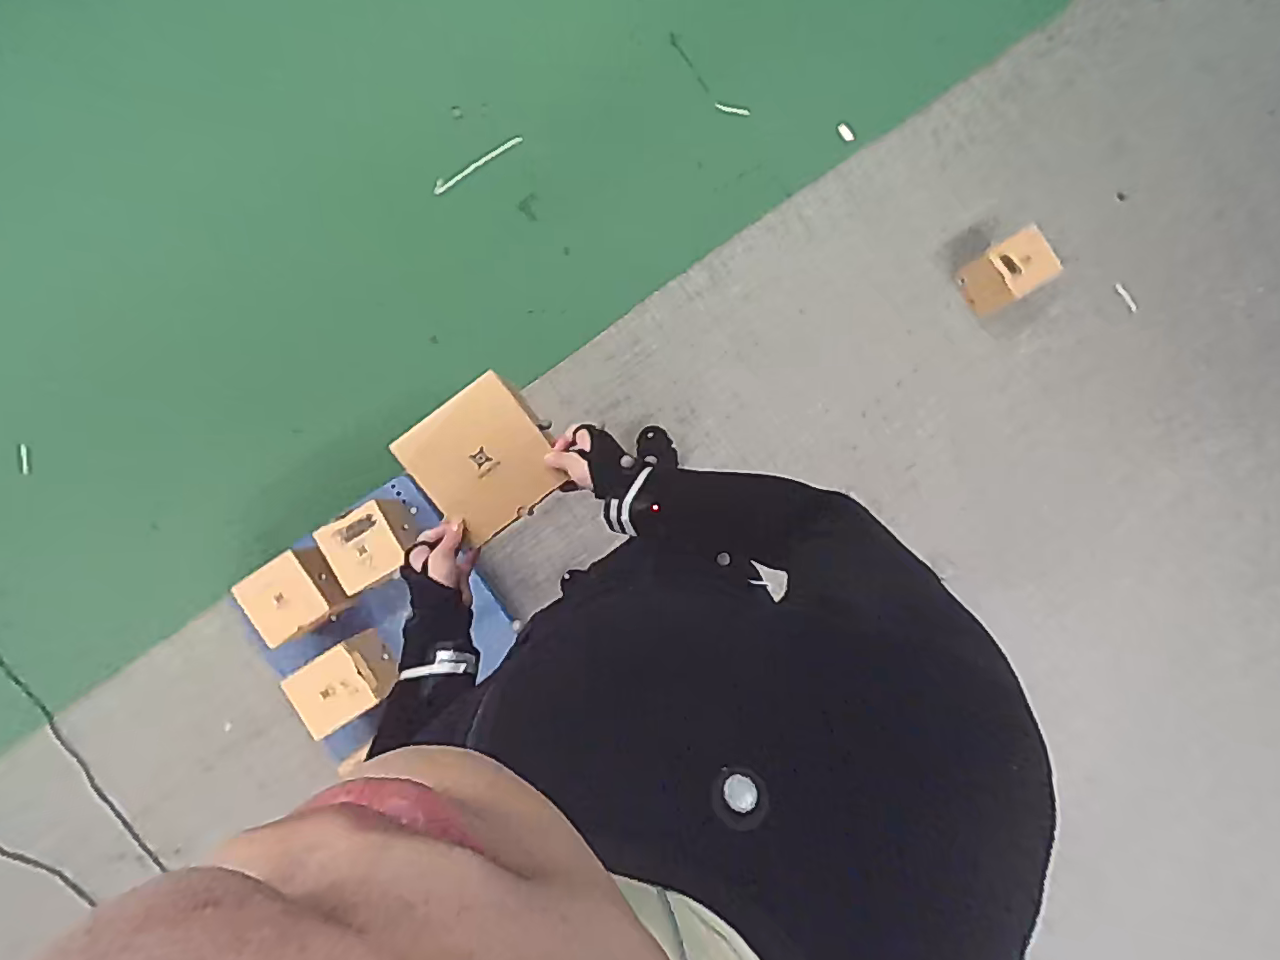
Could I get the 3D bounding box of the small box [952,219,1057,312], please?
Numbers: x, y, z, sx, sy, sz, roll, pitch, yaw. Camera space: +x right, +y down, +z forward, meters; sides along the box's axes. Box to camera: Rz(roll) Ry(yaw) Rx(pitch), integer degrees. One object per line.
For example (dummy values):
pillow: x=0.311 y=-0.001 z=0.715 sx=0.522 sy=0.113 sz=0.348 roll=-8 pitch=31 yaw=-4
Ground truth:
small box: x=1.086 y=-0.637 z=1.633 sx=0.179 sy=0.176 sz=0.168 roll=-31 pitch=90 yaw=-4

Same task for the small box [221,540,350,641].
small box: x=-0.864 y=0.263 z=1.339 sx=0.168 sy=0.176 sz=0.179 roll=-34 pitch=90 yaw=-4

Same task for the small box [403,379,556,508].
small box: x=-0.217 y=-0.055 z=0.775 sx=0.179 sy=0.176 sz=0.168 roll=-3 pitch=97 yaw=-5
